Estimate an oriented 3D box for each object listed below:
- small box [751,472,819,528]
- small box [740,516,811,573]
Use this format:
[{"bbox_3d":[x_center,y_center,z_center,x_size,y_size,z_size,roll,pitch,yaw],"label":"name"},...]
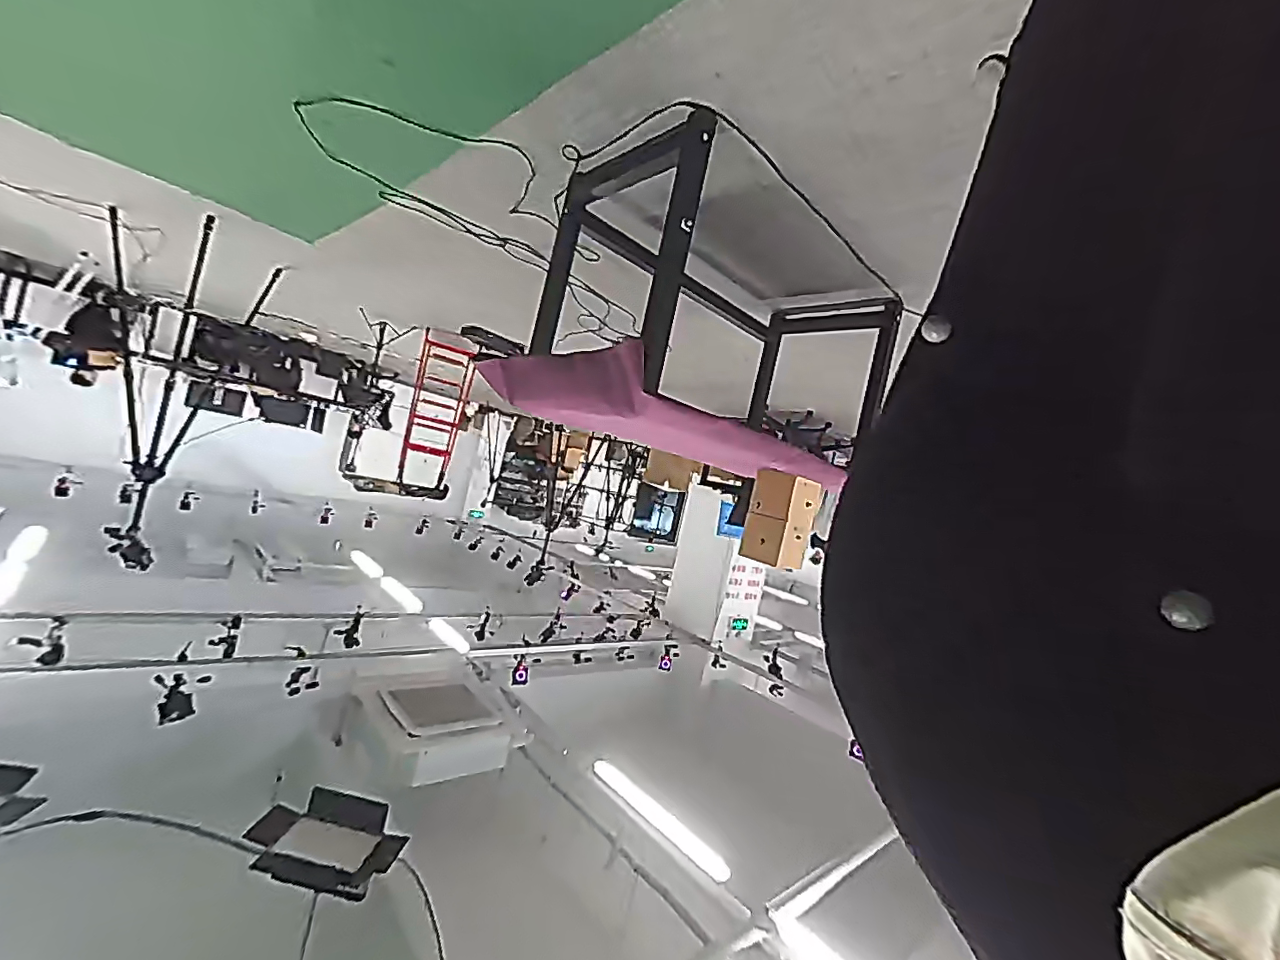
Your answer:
[{"bbox_3d":[0.537,0.070,1.976,0.168,0.176,0.179,14,180,-41],"label":"small box"},{"bbox_3d":[0.496,0.229,1.975,0.168,0.176,0.179,14,179,-42],"label":"small box"}]
